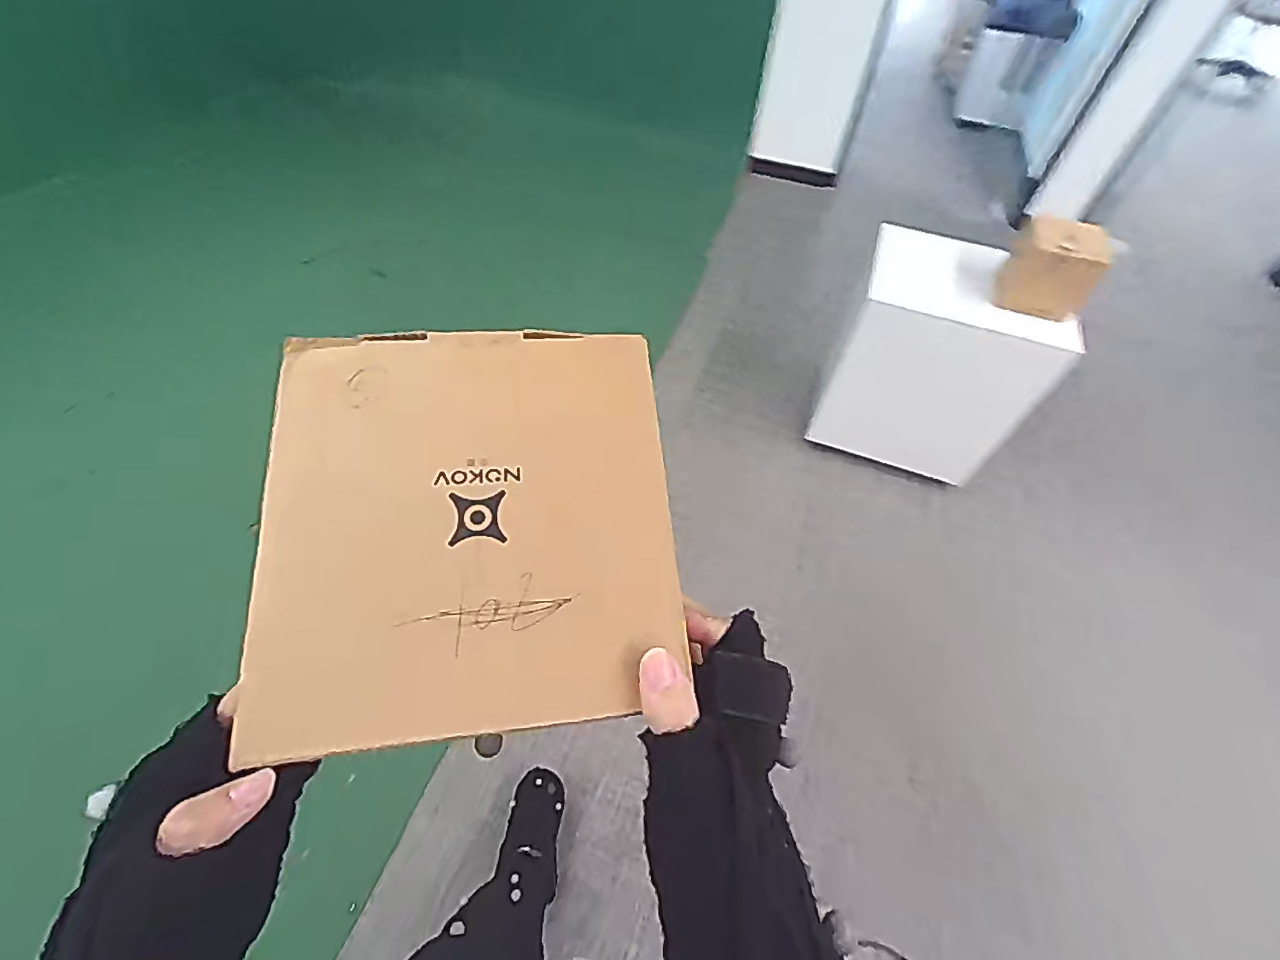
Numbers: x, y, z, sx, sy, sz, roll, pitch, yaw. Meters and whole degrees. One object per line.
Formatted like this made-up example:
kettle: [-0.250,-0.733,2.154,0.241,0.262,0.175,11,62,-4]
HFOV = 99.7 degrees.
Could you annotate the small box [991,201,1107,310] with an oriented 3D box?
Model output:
small box: [1.003,-0.556,1.343,0.168,0.176,0.179,17,55,11]

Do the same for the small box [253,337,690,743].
small box: [-0.077,0.040,0.309,0.168,0.176,0.179,-3,70,-8]
